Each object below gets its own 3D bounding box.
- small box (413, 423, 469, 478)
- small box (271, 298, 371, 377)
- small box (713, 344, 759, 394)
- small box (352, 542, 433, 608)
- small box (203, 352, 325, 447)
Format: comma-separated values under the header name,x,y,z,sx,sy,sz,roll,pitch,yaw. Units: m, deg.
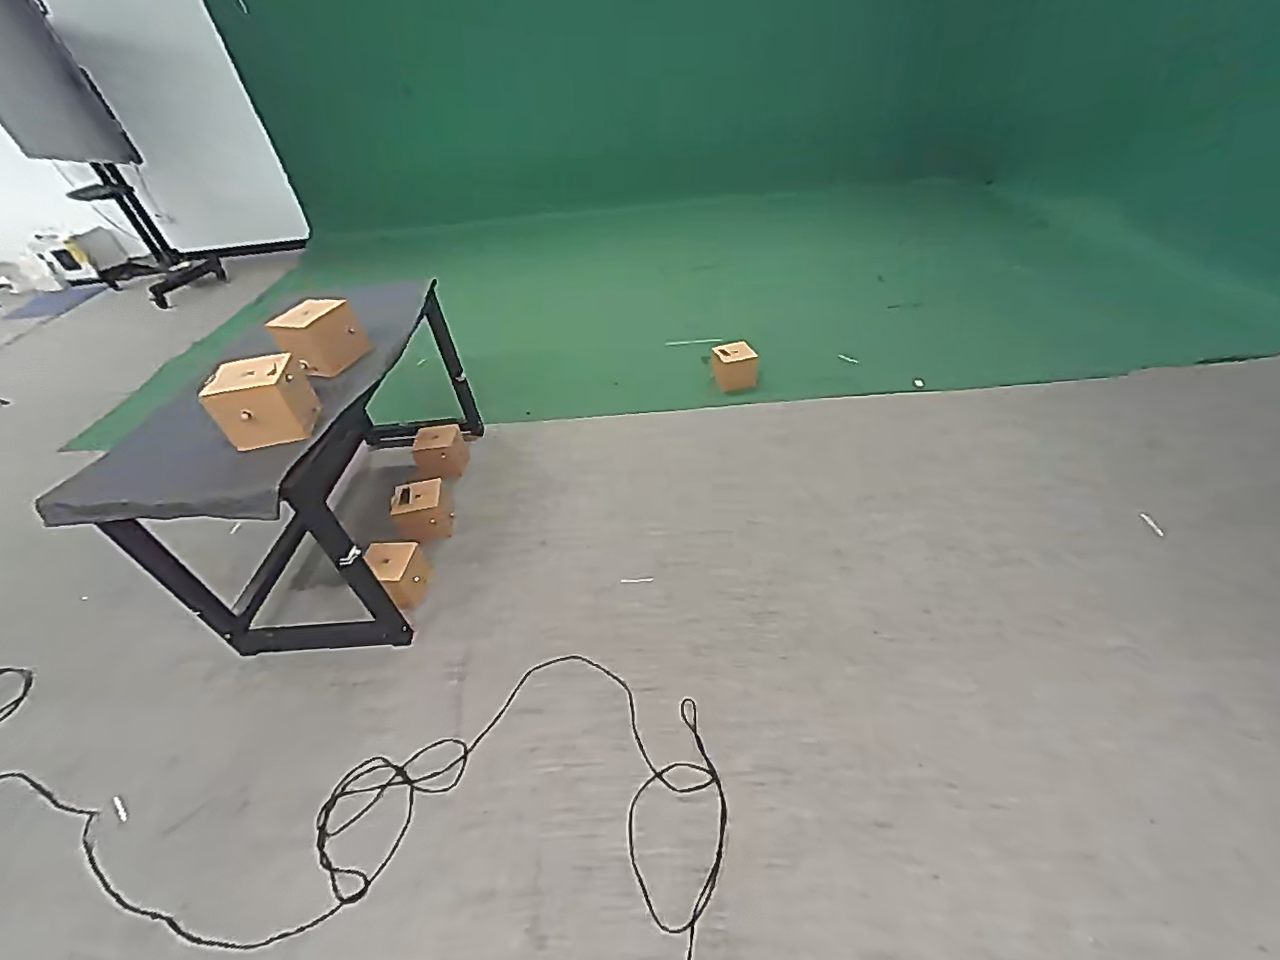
name,x,y,z,sx,sy,sz,roll,pitch,yaw
small box,-0.868,-0.127,2.379,0.179,0.176,0.168,-7,41,0
small box,-0.956,-0.435,1.645,0.168,0.176,0.179,8,45,20
small box,0.472,-0.545,2.667,0.179,0.176,0.168,-14,43,-9
small box,-0.850,0.331,1.877,0.179,0.176,0.168,-1,43,7
small box,-0.950,-0.202,1.386,0.179,0.176,0.168,-12,42,-6
